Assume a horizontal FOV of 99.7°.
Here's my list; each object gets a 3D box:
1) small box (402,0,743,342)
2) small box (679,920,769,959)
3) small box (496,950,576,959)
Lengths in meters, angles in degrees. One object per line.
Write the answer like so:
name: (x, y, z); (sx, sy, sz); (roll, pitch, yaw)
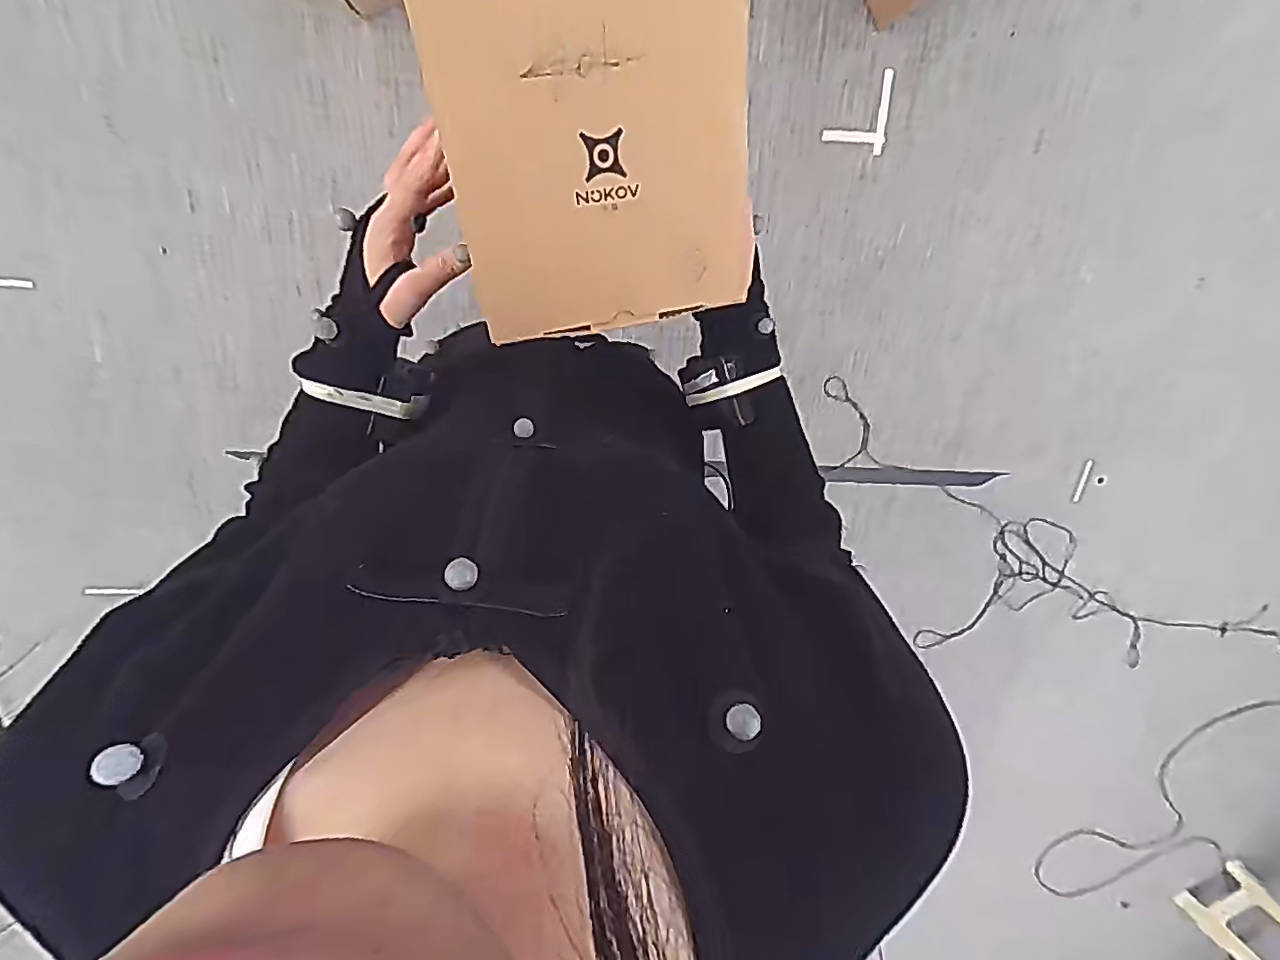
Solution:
small box: (-0.039, -0.213, 0.363); (0.168, 0.176, 0.179); (-13, 122, -8)
small box: (0.177, 1.041, 1.106); (0.168, 0.176, 0.179); (0, 111, -7)
small box: (-0.211, 1.072, 1.068); (0.168, 0.176, 0.179); (1, 111, -7)
